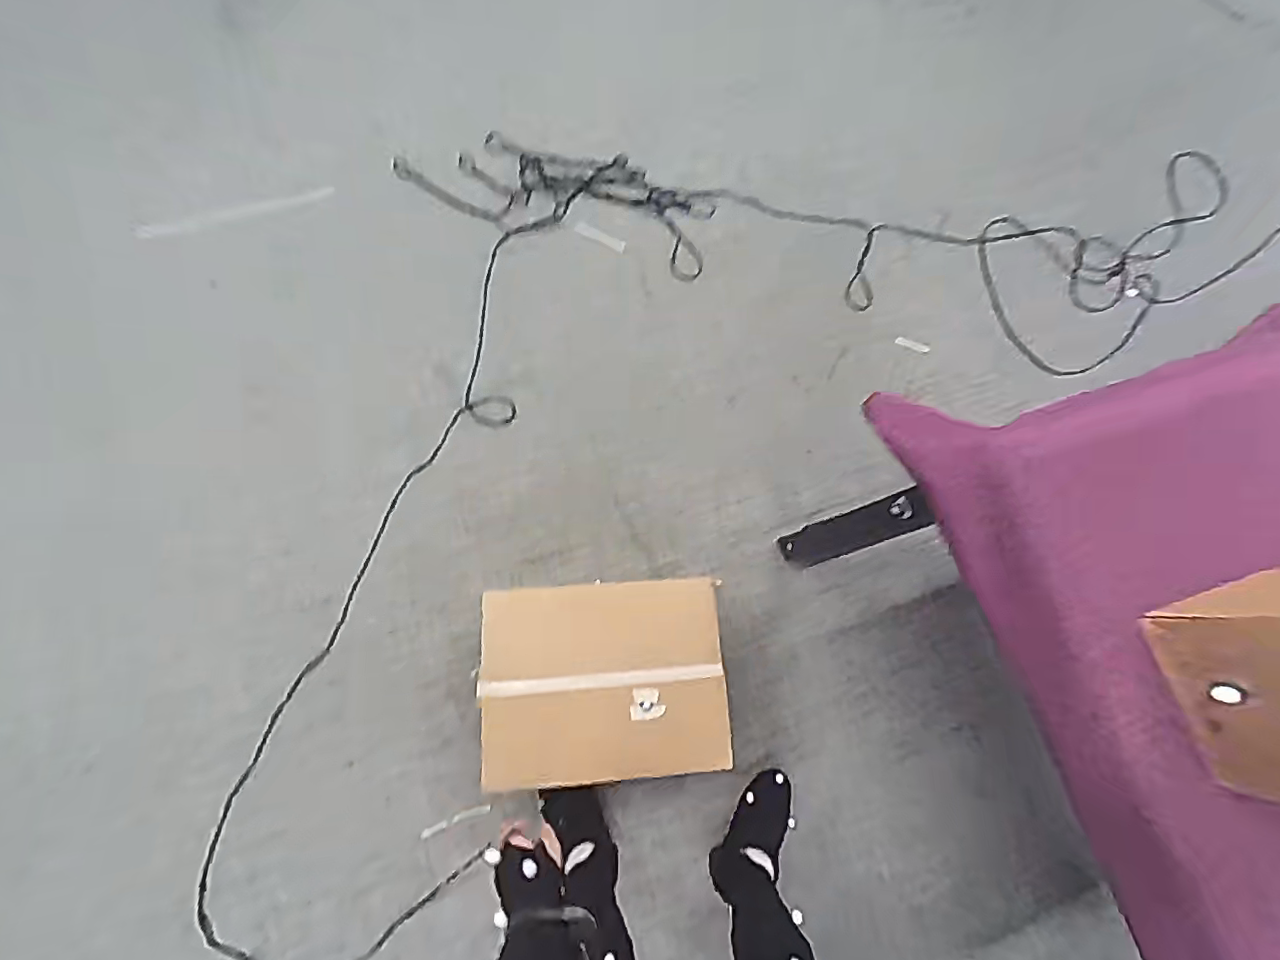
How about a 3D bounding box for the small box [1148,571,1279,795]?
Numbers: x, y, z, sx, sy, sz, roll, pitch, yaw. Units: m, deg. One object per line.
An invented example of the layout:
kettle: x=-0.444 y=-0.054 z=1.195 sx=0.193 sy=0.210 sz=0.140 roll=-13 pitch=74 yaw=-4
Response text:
small box: x=0.622 y=0.173 z=0.471 sx=0.179 sy=0.176 sz=0.168 roll=-15 pitch=77 yaw=-9
